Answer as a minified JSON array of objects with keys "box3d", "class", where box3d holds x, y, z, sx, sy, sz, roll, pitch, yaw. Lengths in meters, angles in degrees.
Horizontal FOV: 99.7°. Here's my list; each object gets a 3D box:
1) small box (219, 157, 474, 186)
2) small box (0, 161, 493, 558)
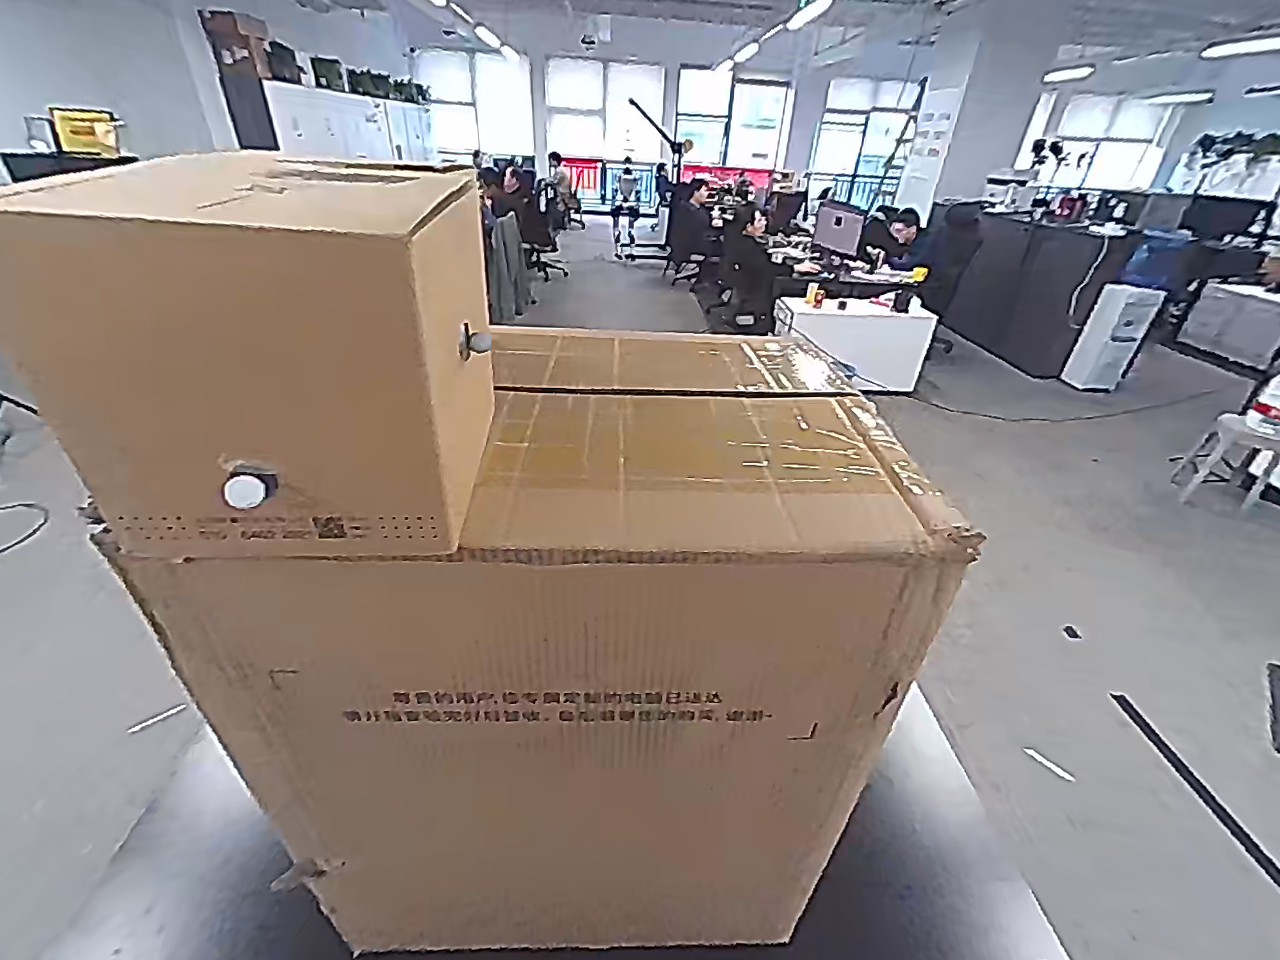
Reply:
[{"box3d":[-0.230,-0.177,0.471,0.168,0.176,0.179,-1,32,-8],"class":"small box"},{"box3d":[-0.183,-0.075,0.316,0.168,0.176,0.179,0,35,-7],"class":"small box"}]
